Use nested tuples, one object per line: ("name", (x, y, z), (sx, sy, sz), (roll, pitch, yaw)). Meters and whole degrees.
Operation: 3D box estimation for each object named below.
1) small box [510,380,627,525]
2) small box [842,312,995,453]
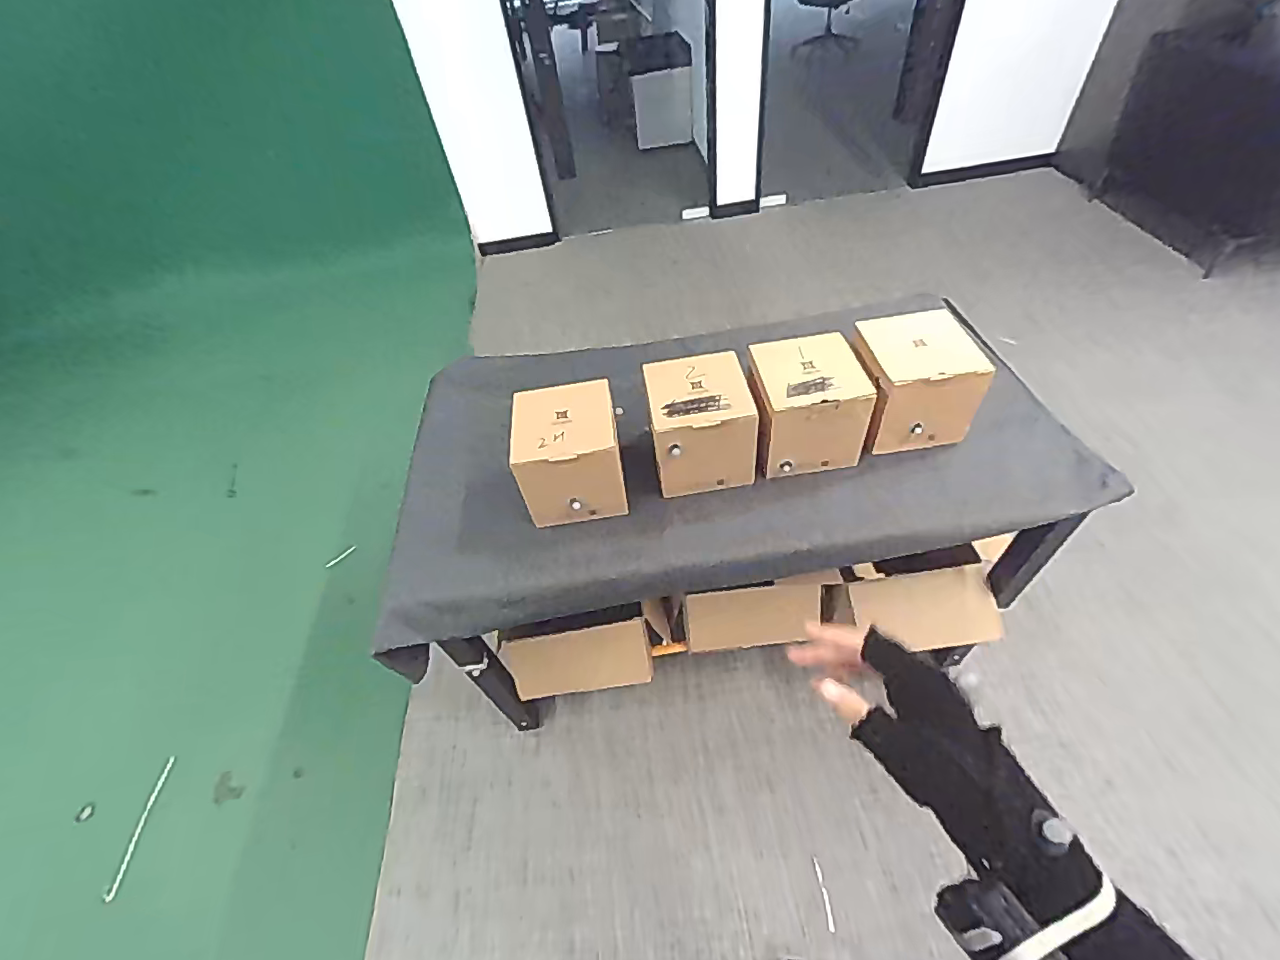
("small box", (-0.117, -0.046, 0.937), (0.168, 0.176, 0.179), (-9, 49, 1))
("small box", (0.479, -0.172, 0.967), (0.168, 0.176, 0.179), (-8, 50, 1))
